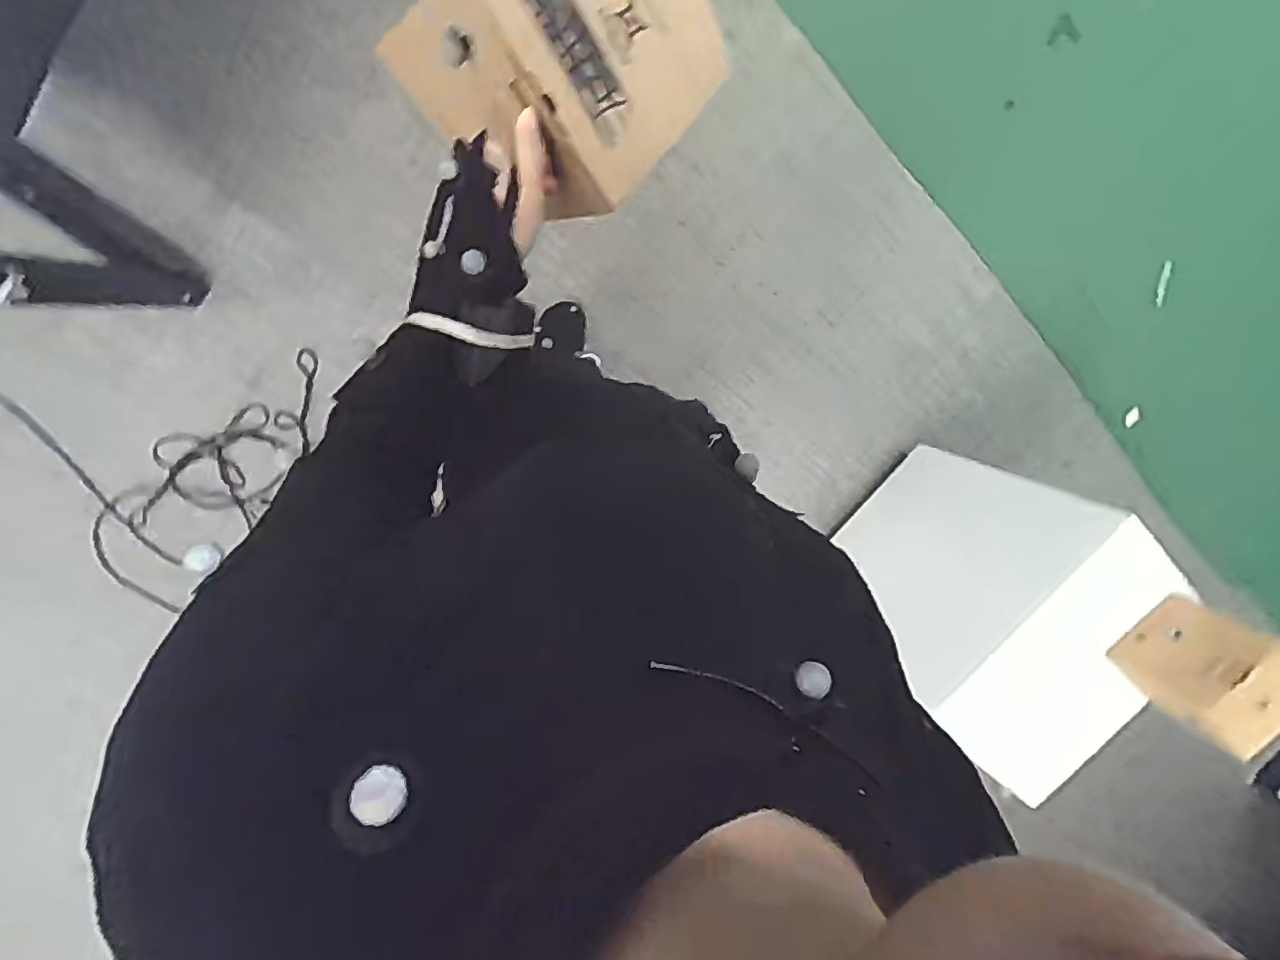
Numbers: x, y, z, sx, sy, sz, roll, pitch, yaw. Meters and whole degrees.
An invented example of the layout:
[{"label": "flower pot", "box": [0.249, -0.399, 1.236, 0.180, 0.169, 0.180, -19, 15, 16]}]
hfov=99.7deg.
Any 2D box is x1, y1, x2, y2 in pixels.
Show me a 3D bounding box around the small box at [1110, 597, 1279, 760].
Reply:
[{"label": "small box", "box": [0.999, 0.339, 0.950, 0.179, 0.176, 0.168, 39, 97, -18]}]
